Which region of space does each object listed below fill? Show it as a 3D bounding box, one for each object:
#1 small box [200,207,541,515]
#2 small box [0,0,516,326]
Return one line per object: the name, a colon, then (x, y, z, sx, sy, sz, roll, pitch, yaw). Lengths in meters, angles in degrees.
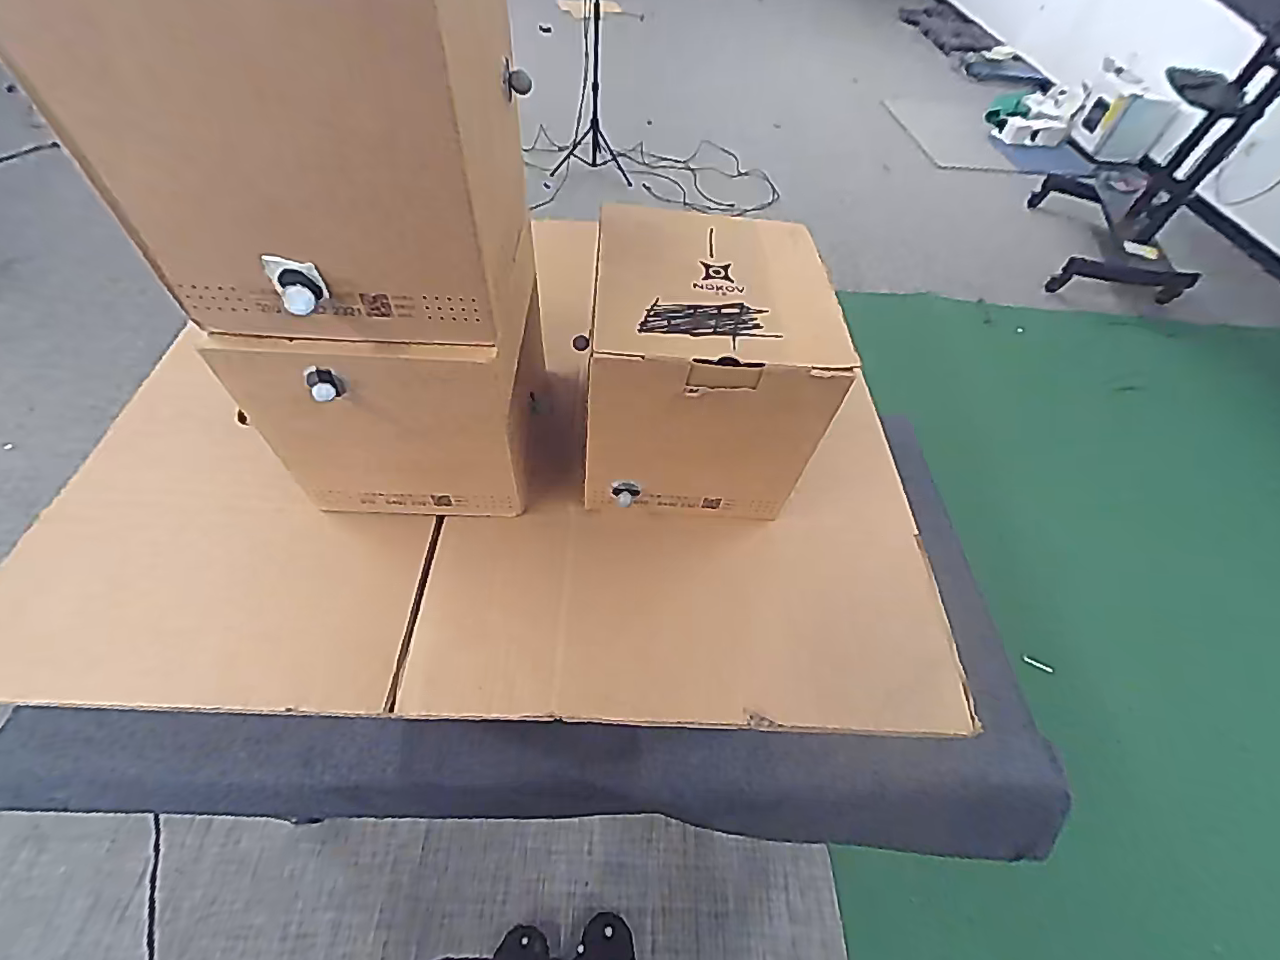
small box: (-0.173, -0.093, 0.422, 0.168, 0.176, 0.179, 2, 53, -2)
small box: (-0.162, -0.205, 0.283, 0.168, 0.176, 0.179, 0, 55, -4)
